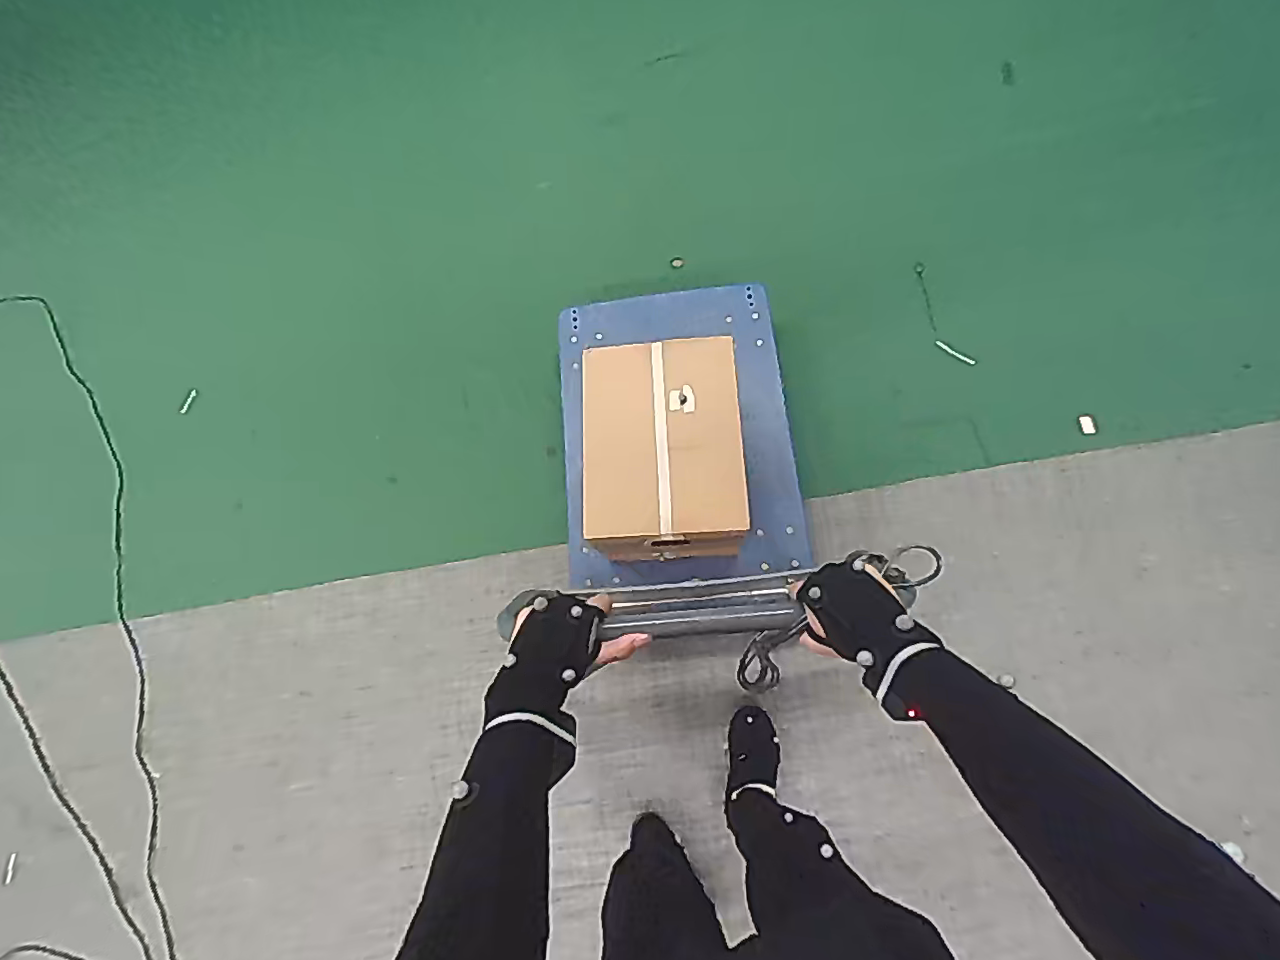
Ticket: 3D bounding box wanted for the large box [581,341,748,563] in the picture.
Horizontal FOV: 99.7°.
[{"bbox_3d":[0.056,-0.041,1.204,0.320,0.320,0.408,-4,73,5],"label":"large box"}]
